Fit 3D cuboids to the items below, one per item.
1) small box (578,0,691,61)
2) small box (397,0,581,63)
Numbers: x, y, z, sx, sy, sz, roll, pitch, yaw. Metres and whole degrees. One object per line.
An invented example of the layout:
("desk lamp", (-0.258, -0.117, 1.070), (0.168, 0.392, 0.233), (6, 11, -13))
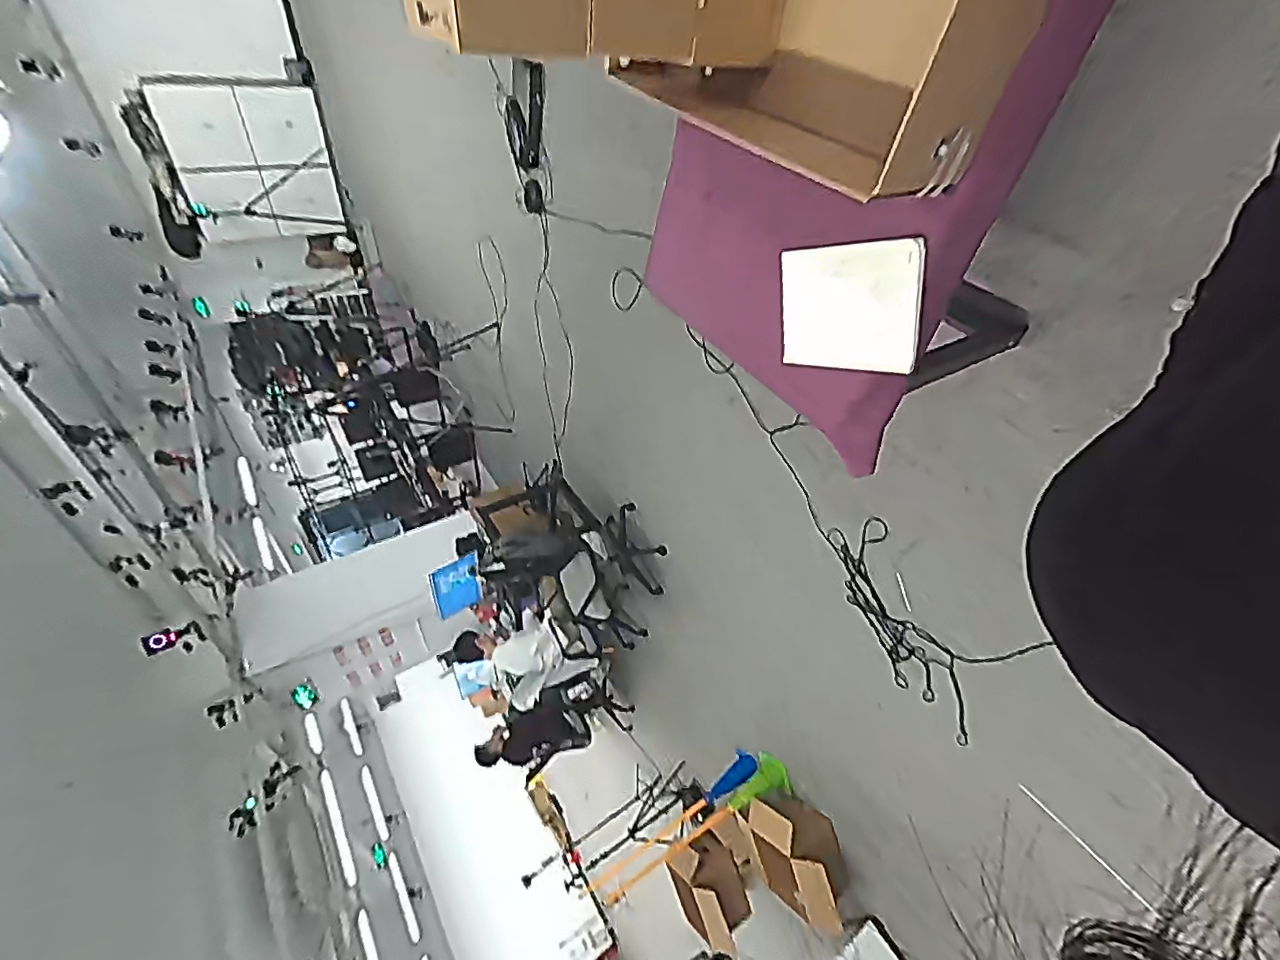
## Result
("small box", (-0.040, -0.663, 0.697), (0.168, 0.176, 0.179), (45, 145, 34))
("small box", (-0.175, -0.607, 0.621), (0.168, 0.176, 0.179), (47, 144, 32))
